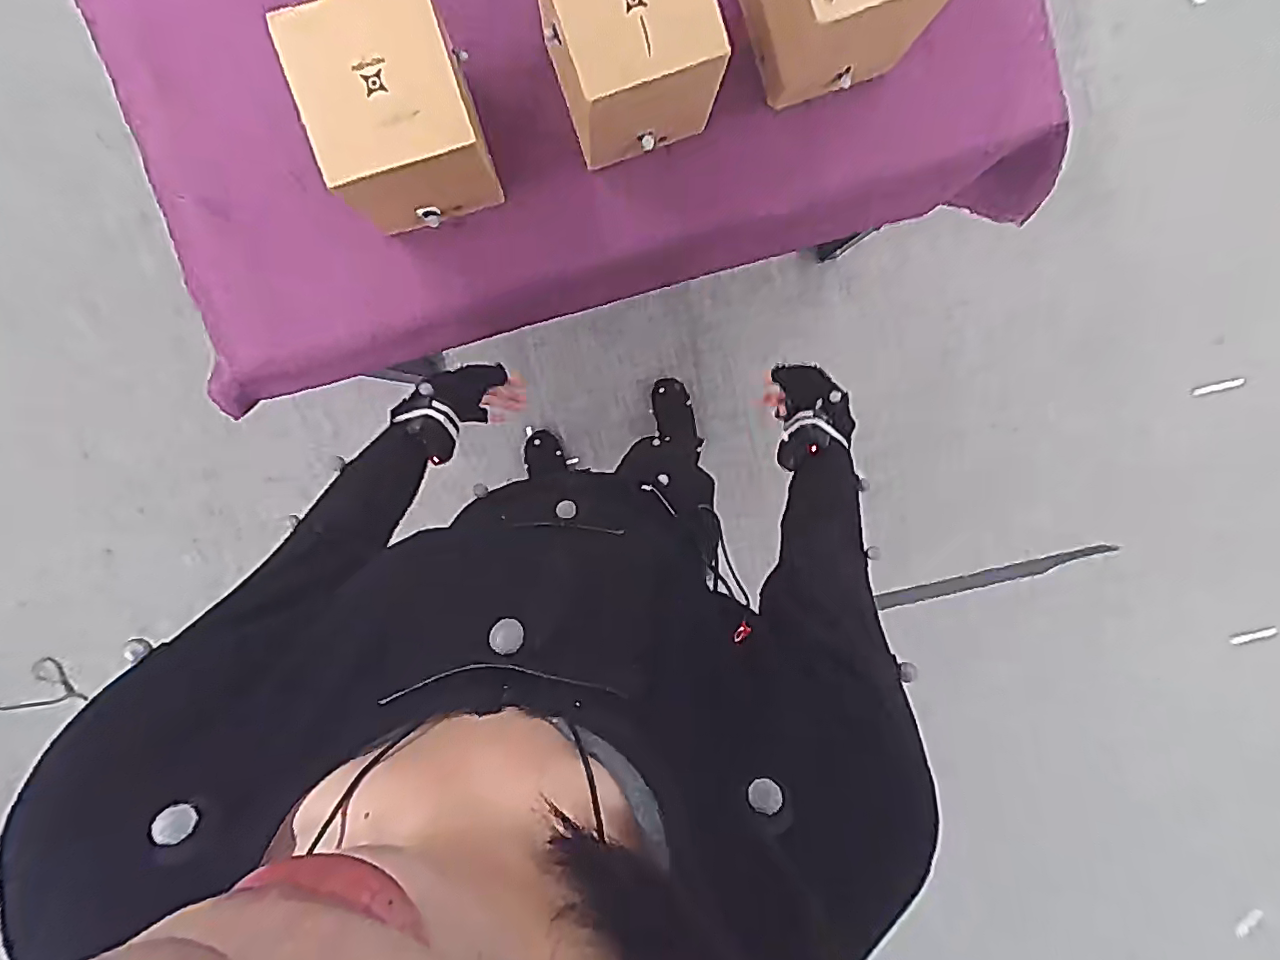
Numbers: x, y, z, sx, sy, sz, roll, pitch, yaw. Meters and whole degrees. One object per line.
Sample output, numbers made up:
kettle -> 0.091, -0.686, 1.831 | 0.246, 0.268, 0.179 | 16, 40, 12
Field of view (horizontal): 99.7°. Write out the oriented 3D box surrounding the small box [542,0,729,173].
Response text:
small box -> -0.014, -0.507, 0.639 | 0.168, 0.176, 0.179 | -19, 98, -1

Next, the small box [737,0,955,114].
small box -> 0.237, -0.587, 0.648 | 0.179, 0.176, 0.168 | -19, 97, -2

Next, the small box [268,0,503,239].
small box -> -0.277, -0.415, 0.632 | 0.168, 0.176, 0.179 | -18, 98, -1
